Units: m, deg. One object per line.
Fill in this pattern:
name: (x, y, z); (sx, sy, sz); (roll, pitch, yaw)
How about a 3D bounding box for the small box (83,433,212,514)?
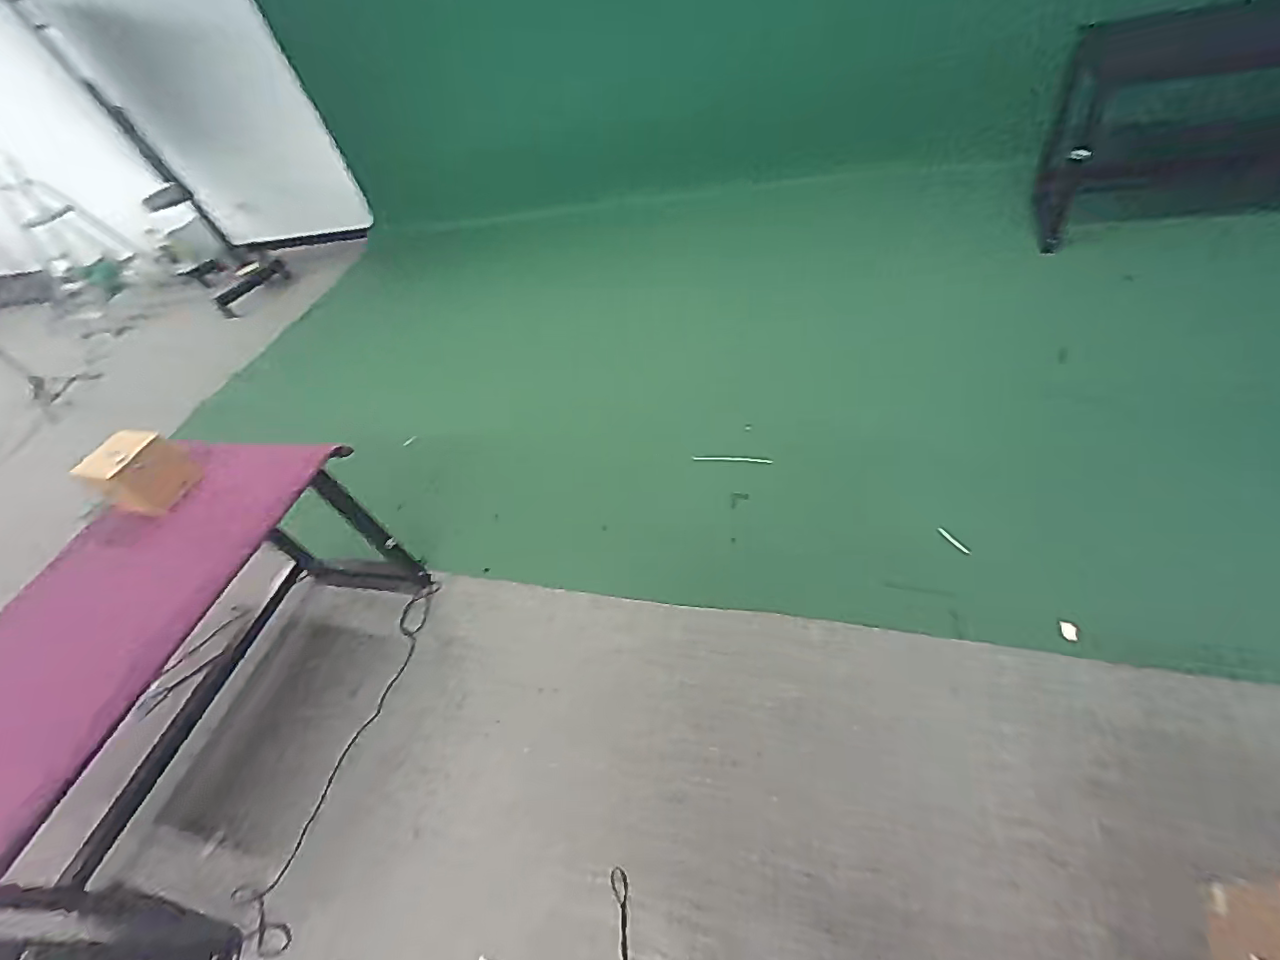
small box: (-1.396, -0.018, 1.544); (0.179, 0.176, 0.168); (4, 52, 20)
